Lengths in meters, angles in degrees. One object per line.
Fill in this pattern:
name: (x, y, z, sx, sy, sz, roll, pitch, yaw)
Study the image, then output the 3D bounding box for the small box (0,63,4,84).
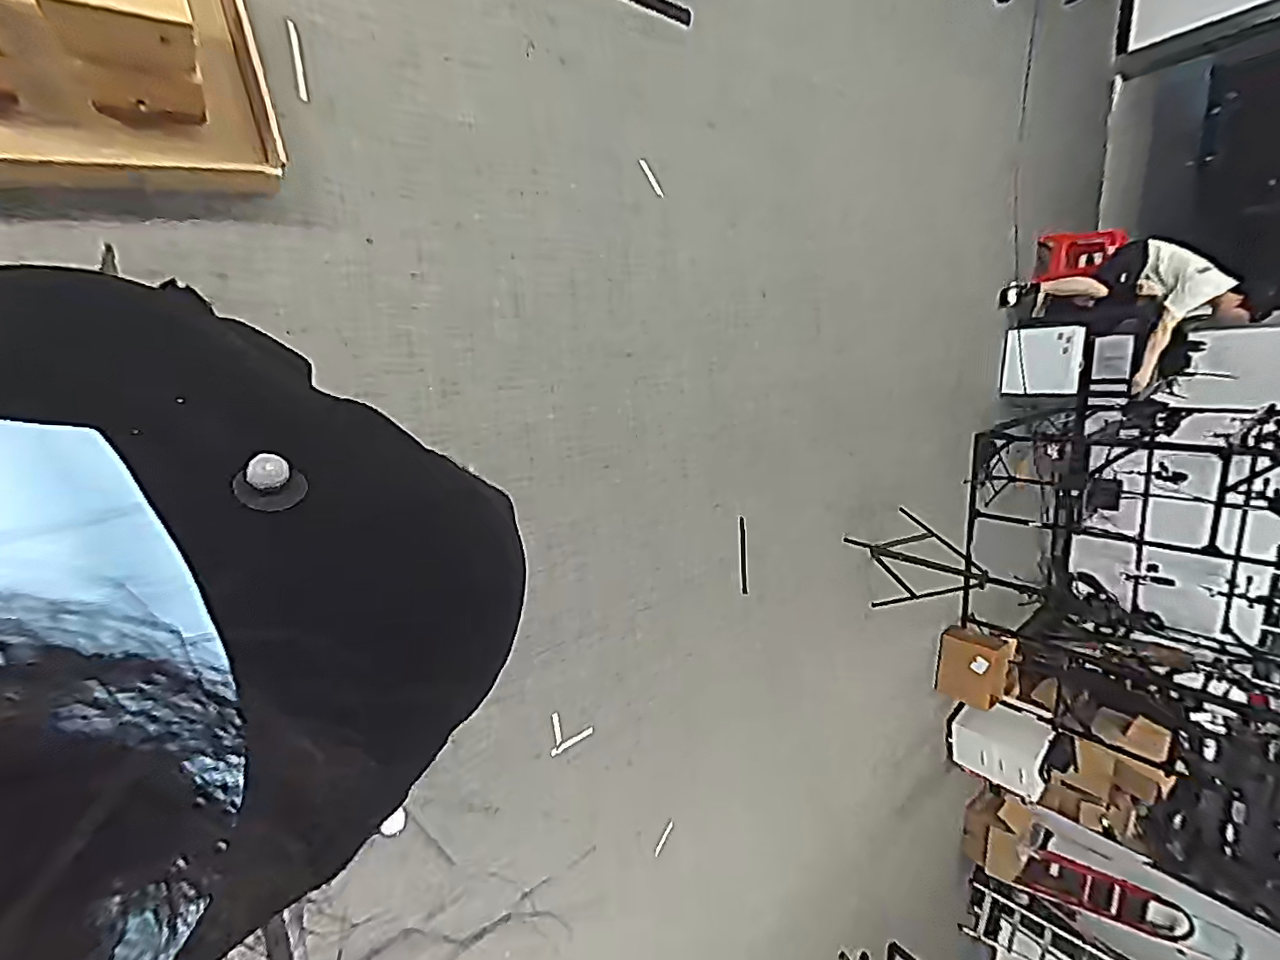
small box: (-1.091, -0.699, 0.786, 0.179, 0.176, 0.168, -21, 110, -36)

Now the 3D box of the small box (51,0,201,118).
small box: (-0.892, -0.767, 0.939, 0.168, 0.176, 0.179, -18, 109, -34)
